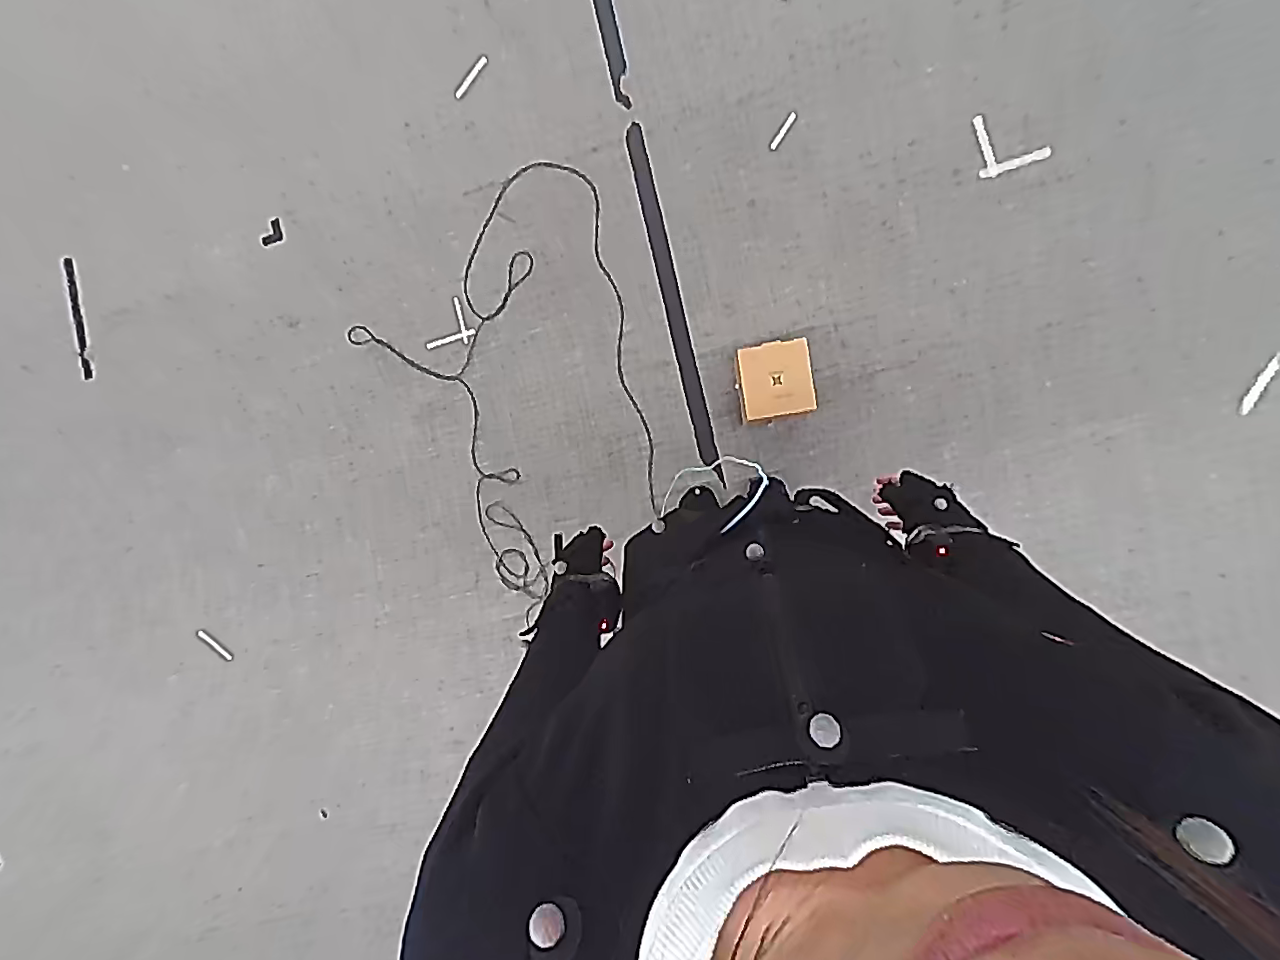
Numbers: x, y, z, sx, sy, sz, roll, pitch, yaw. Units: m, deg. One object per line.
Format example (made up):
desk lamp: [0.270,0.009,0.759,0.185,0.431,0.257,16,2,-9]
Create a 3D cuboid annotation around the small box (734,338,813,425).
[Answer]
small box: [0.333,-0.244,1.376,0.168,0.176,0.179,-8,89,8]
